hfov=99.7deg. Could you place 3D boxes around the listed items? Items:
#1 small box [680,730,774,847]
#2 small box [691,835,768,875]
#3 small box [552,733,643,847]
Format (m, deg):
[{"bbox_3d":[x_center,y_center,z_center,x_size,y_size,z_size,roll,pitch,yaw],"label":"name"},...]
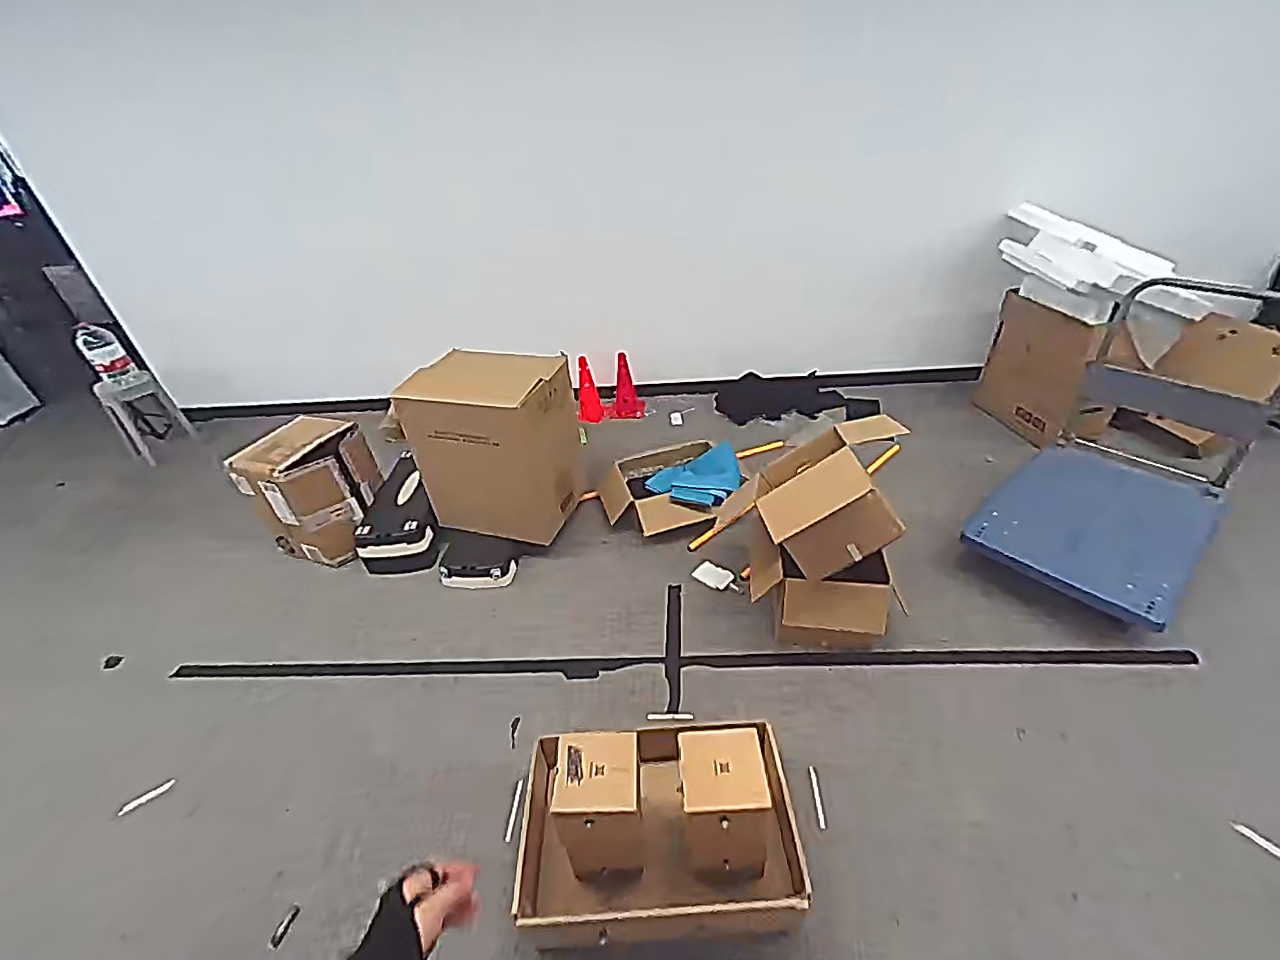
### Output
[{"bbox_3d":[0.183,0.667,1.169,0.179,0.176,0.168,-6,36,3],"label":"small box"},{"bbox_3d":[0.200,0.797,1.264,0.168,0.176,0.179,-4,34,2],"label":"small box"},{"bbox_3d":[-0.085,0.680,1.184,0.179,0.176,0.168,-2,36,2],"label":"small box"}]
